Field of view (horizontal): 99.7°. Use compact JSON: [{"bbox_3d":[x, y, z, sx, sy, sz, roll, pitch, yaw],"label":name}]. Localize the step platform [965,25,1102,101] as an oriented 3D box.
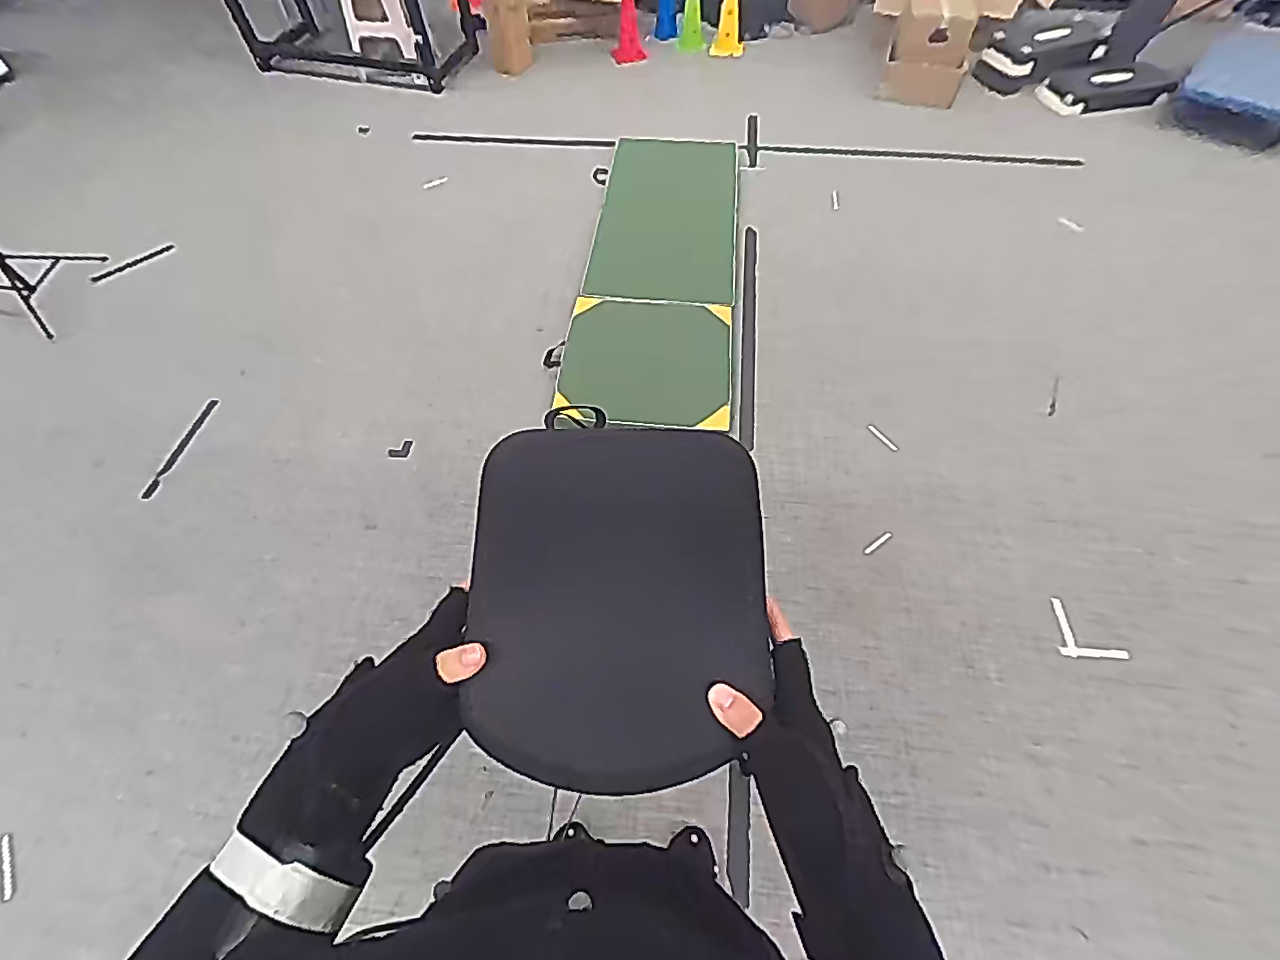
[{"bbox_3d":[2.226,-2.364,3.057,0.684,0.204,0.286,-21,61,-11],"label":"step platform"}]
